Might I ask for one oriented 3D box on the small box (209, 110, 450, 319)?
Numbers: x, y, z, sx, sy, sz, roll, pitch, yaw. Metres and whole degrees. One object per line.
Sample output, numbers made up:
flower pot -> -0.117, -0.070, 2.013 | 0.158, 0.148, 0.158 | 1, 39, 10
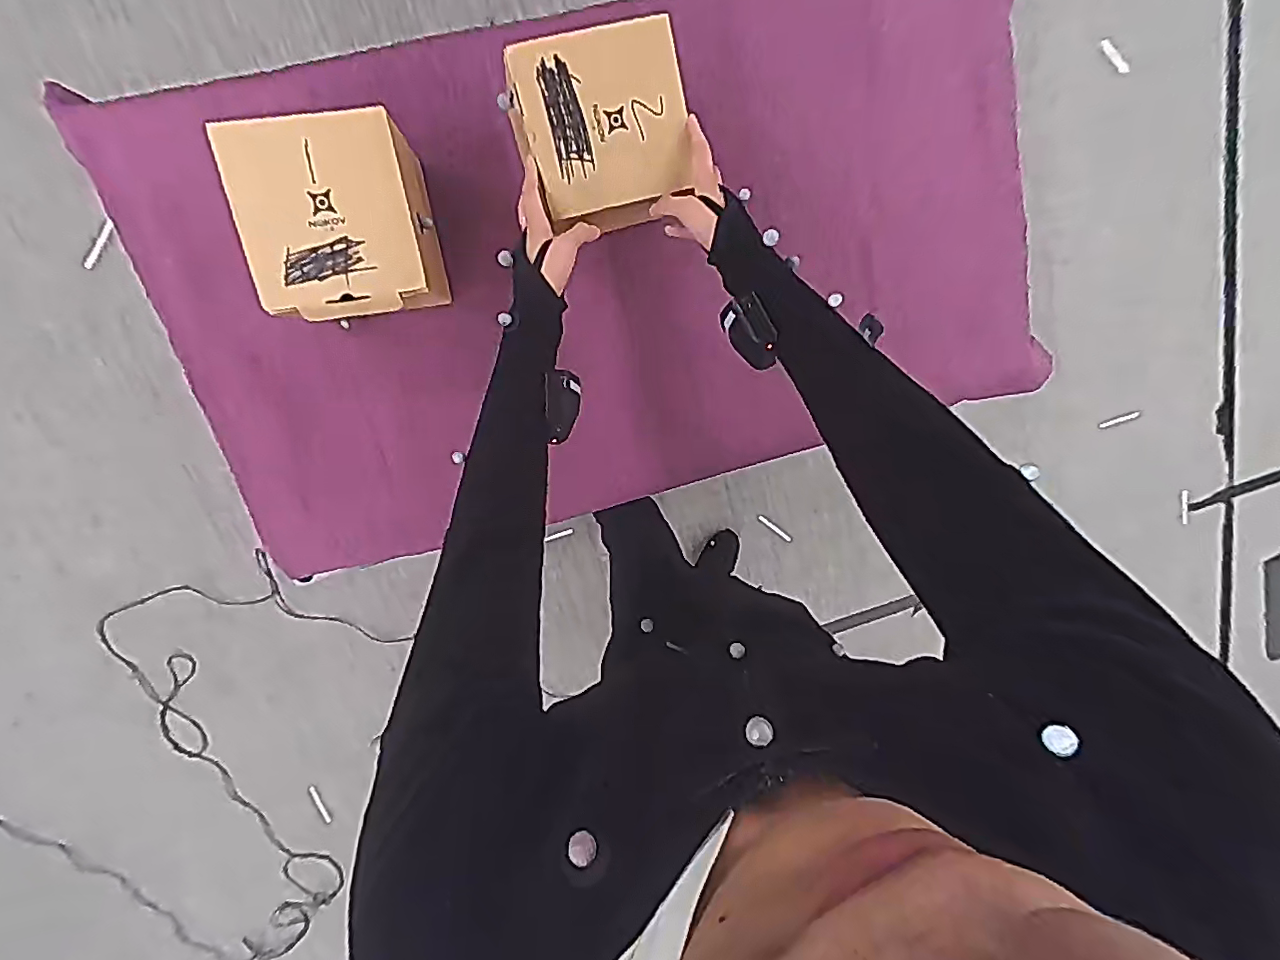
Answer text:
small box -> -0.327, -0.283, 0.614 | 0.168, 0.176, 0.179 | -12, 105, -8
